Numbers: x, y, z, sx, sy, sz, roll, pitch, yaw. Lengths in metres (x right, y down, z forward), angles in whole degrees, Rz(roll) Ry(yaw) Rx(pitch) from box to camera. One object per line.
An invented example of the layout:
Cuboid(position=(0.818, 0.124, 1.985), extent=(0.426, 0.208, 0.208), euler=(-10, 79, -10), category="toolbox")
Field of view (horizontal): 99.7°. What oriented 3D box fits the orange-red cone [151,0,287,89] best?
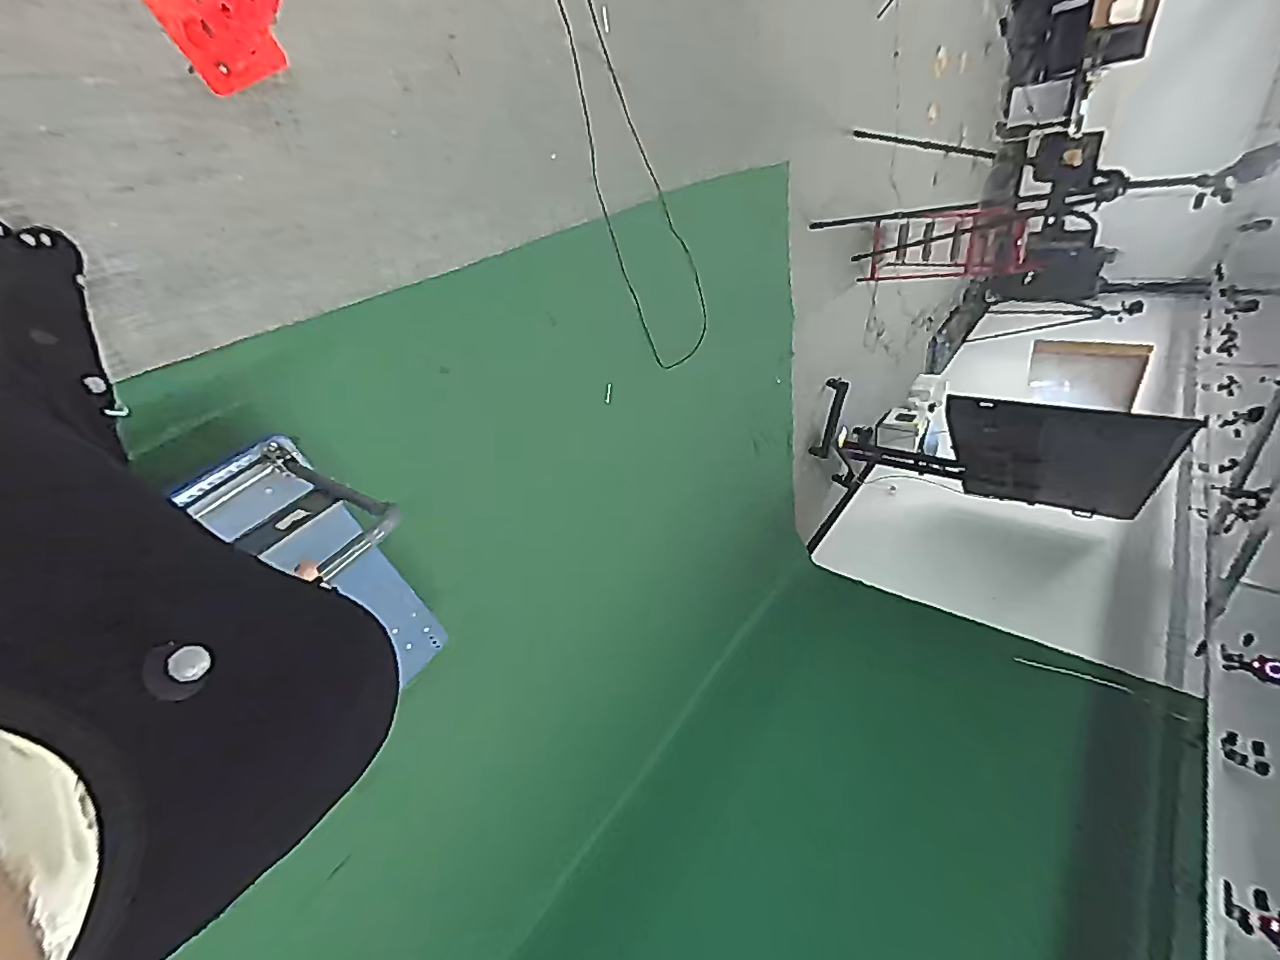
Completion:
Cuboid(position=(-0.777, -0.951, 1.073), extent=(0.199, 0.360, 0.198), euler=(-53, 139, -26), category="orange-red cone")
